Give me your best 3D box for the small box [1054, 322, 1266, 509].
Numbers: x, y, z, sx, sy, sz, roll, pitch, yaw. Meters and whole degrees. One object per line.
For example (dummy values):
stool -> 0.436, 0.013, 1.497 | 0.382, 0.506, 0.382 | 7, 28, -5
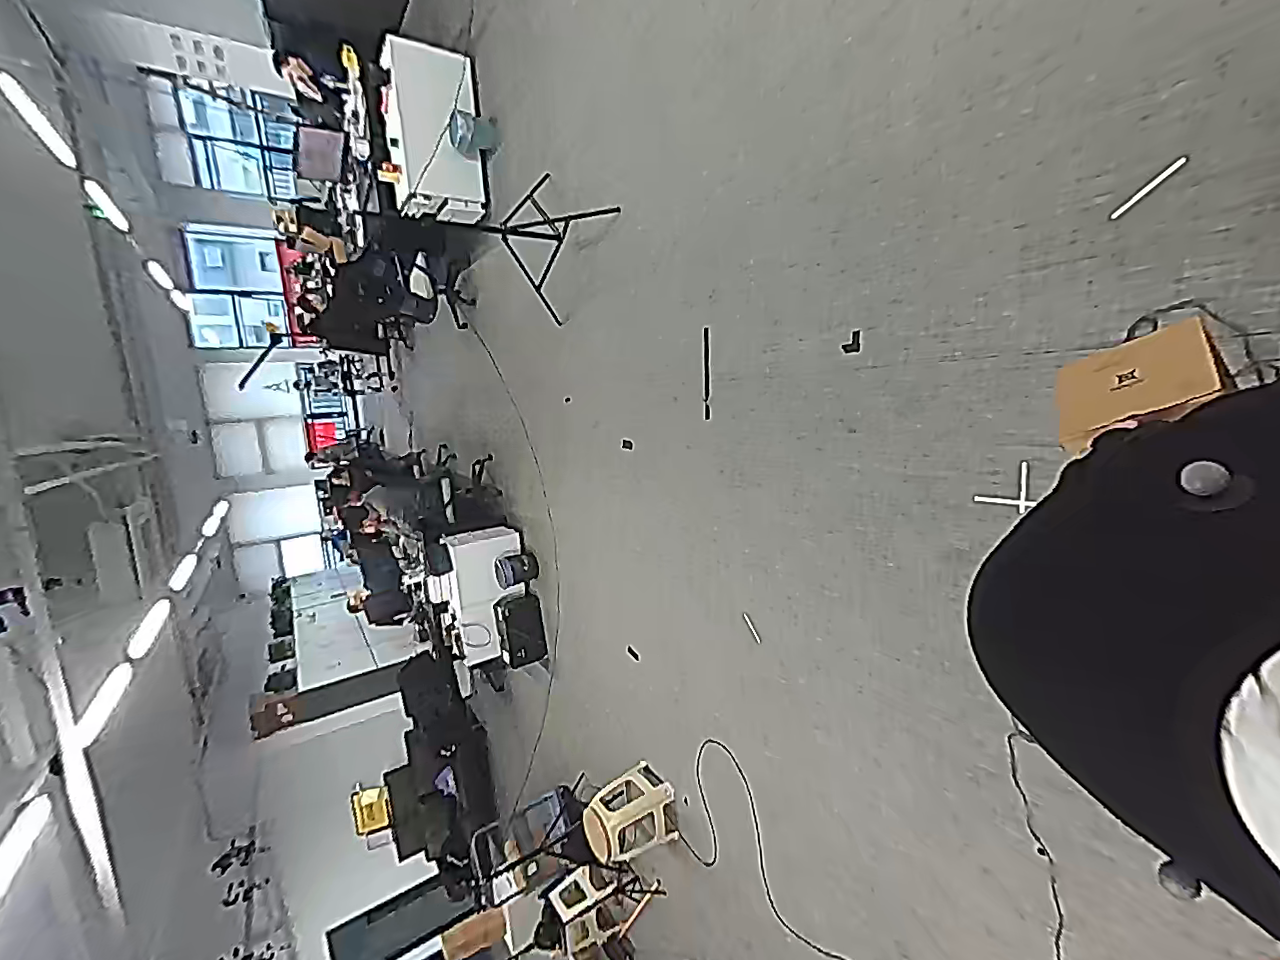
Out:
small box -> 0.715, -0.078, 0.756 | 0.176, 0.179, 0.168 | 46, 143, -15
